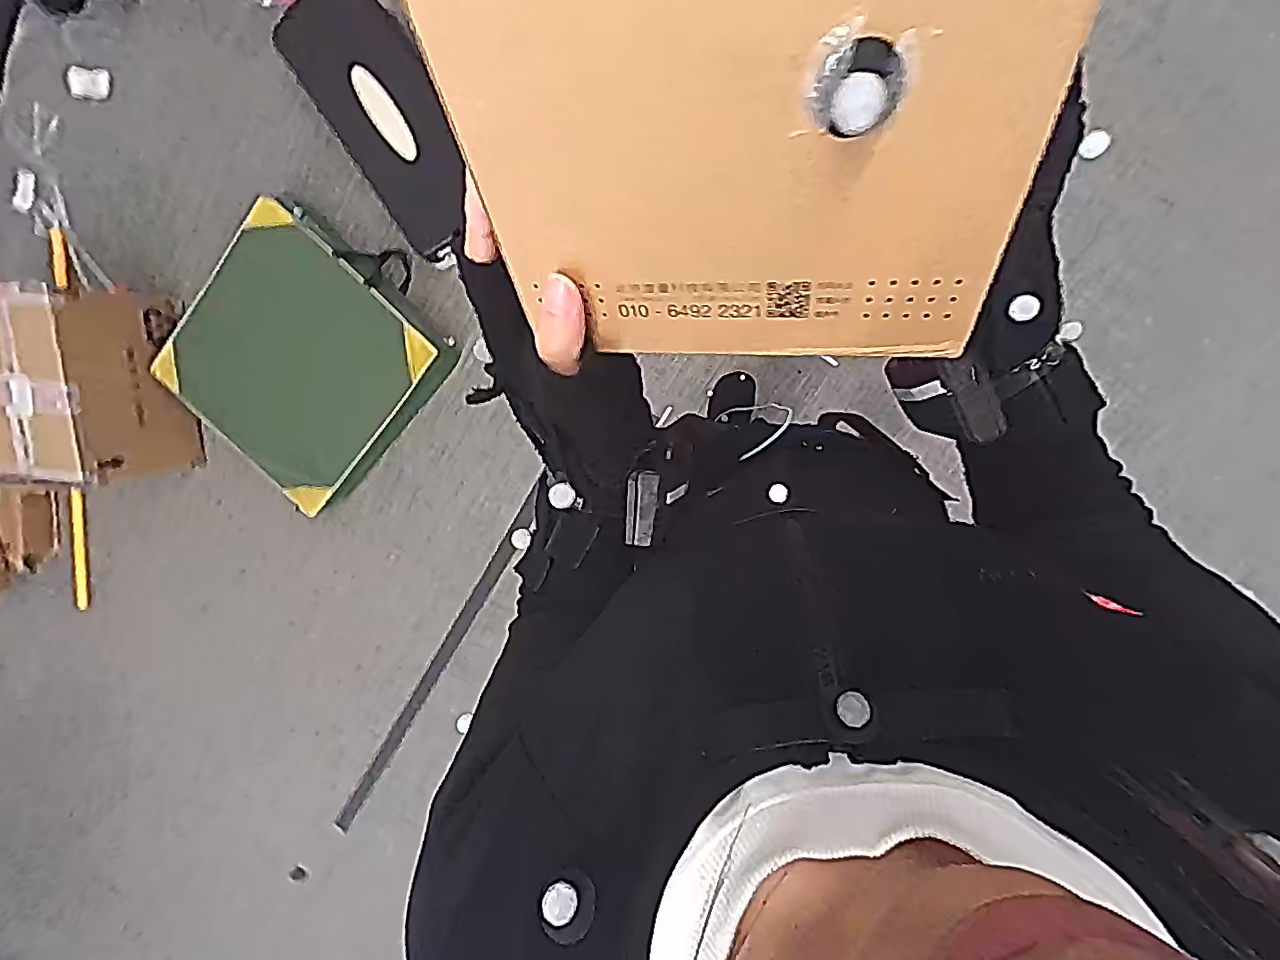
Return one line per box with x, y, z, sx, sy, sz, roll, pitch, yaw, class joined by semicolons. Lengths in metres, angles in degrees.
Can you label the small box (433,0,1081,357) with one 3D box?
0.046;-0.164;0.205;0.168;0.179;0.176;5;144;14;small box
